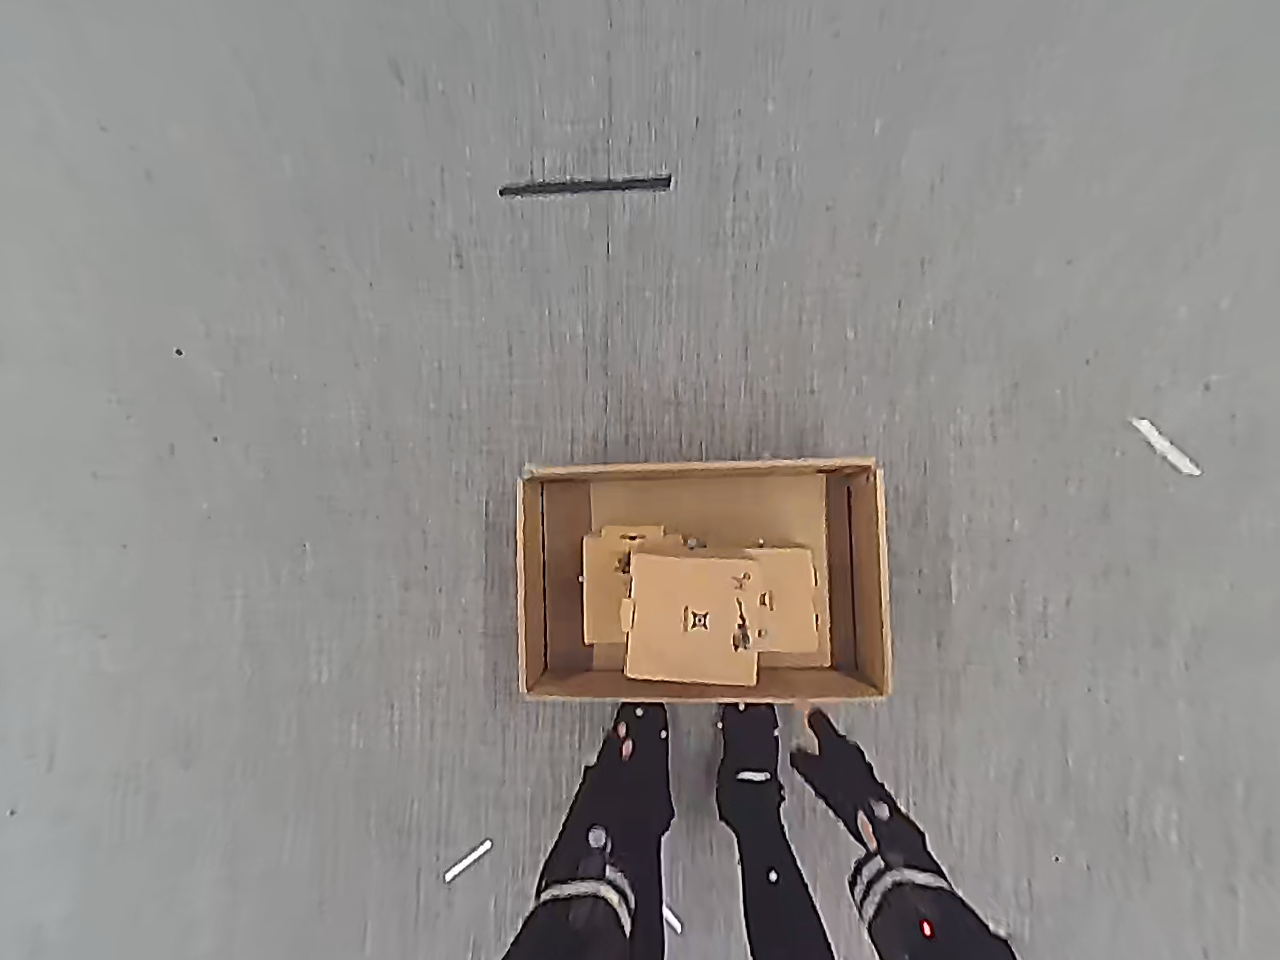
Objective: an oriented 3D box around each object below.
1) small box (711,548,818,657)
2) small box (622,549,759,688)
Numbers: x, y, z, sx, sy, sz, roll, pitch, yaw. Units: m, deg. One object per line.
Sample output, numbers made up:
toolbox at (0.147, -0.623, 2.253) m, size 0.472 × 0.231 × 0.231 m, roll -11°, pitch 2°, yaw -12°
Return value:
small box at (0.205, 0.207, 0.953) m, size 0.179 × 0.176 × 0.168 m, roll -2°, pitch 86°, yaw 7°
small box at (0.074, 0.192, 0.798) m, size 0.179 × 0.176 × 0.168 m, roll 3°, pitch 87°, yaw 4°
